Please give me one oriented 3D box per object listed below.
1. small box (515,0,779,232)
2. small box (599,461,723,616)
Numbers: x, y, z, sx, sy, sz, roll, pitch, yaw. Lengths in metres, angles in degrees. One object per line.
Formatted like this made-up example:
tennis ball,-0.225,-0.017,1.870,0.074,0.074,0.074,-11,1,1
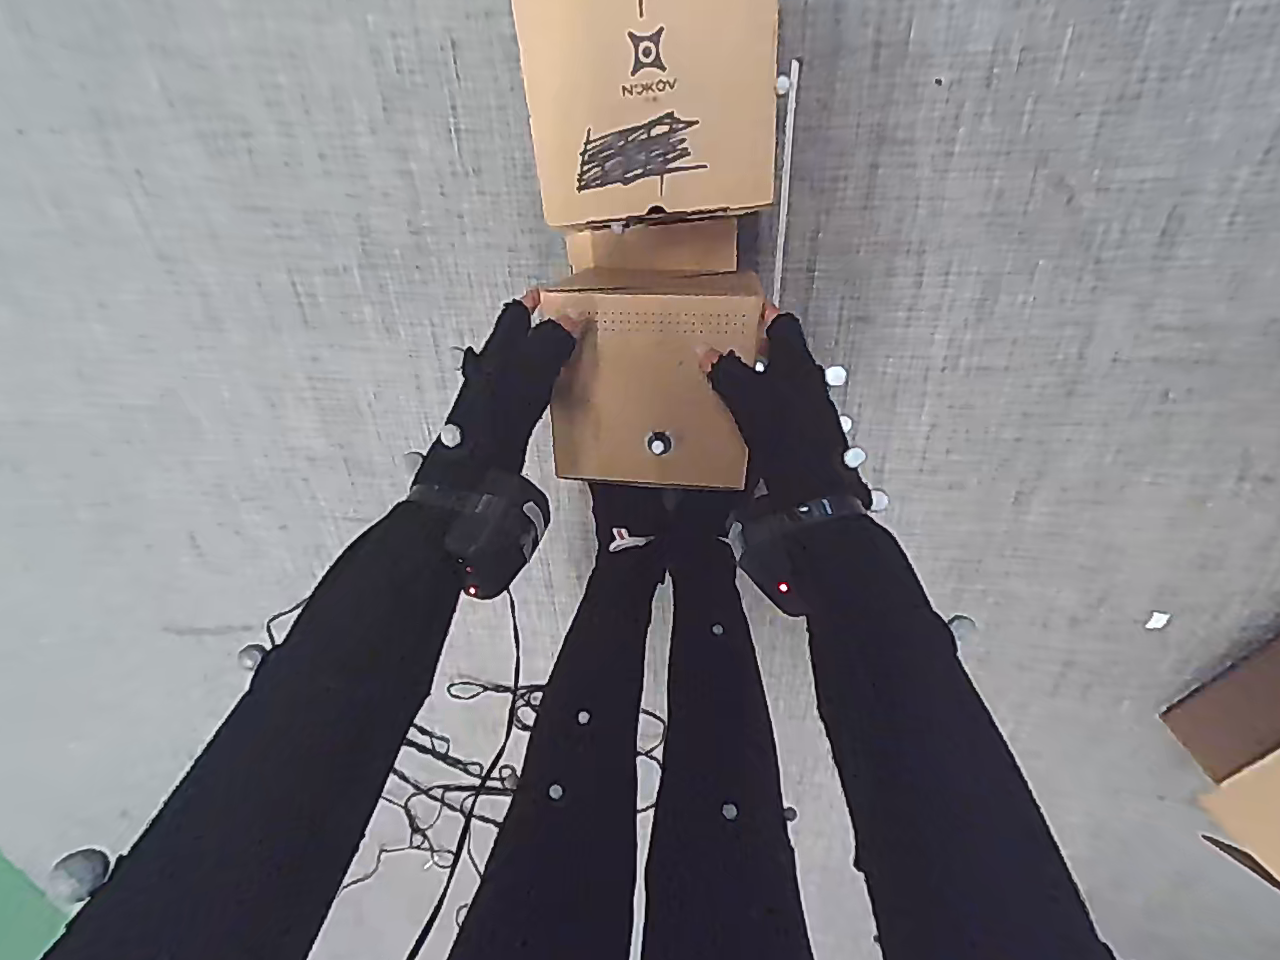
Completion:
small box,0.015,-0.298,0.419,0.168,0.176,0.179,-1,116,8
small box,0.023,0.090,0.847,0.168,0.176,0.179,2,122,-5
